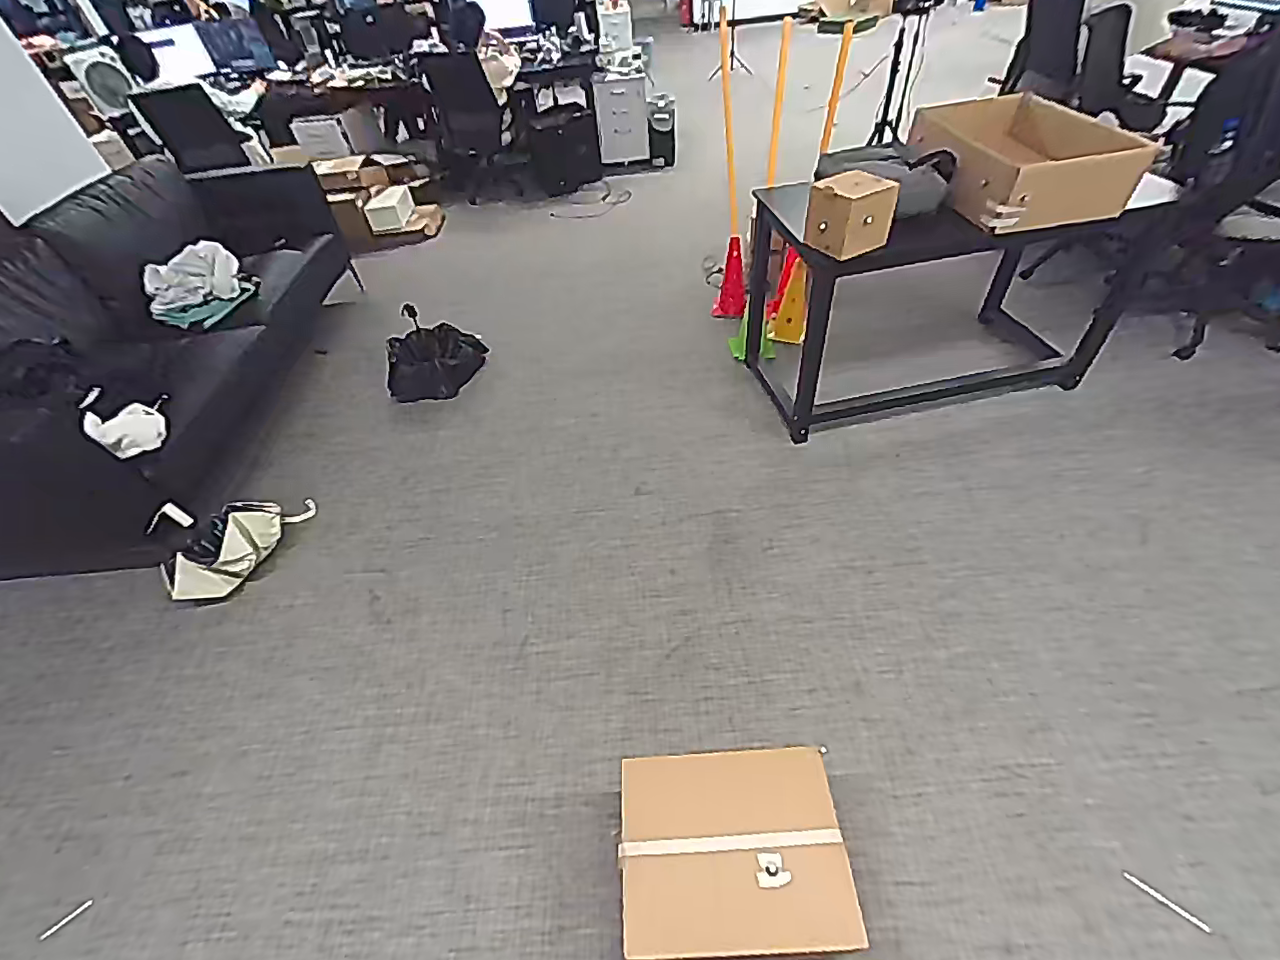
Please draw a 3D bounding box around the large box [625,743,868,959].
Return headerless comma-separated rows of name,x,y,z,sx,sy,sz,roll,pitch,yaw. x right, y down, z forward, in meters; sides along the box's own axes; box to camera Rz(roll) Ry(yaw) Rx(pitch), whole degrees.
large box,0.186,0.766,1.102,0.408,0.320,0.320,-5,47,3
